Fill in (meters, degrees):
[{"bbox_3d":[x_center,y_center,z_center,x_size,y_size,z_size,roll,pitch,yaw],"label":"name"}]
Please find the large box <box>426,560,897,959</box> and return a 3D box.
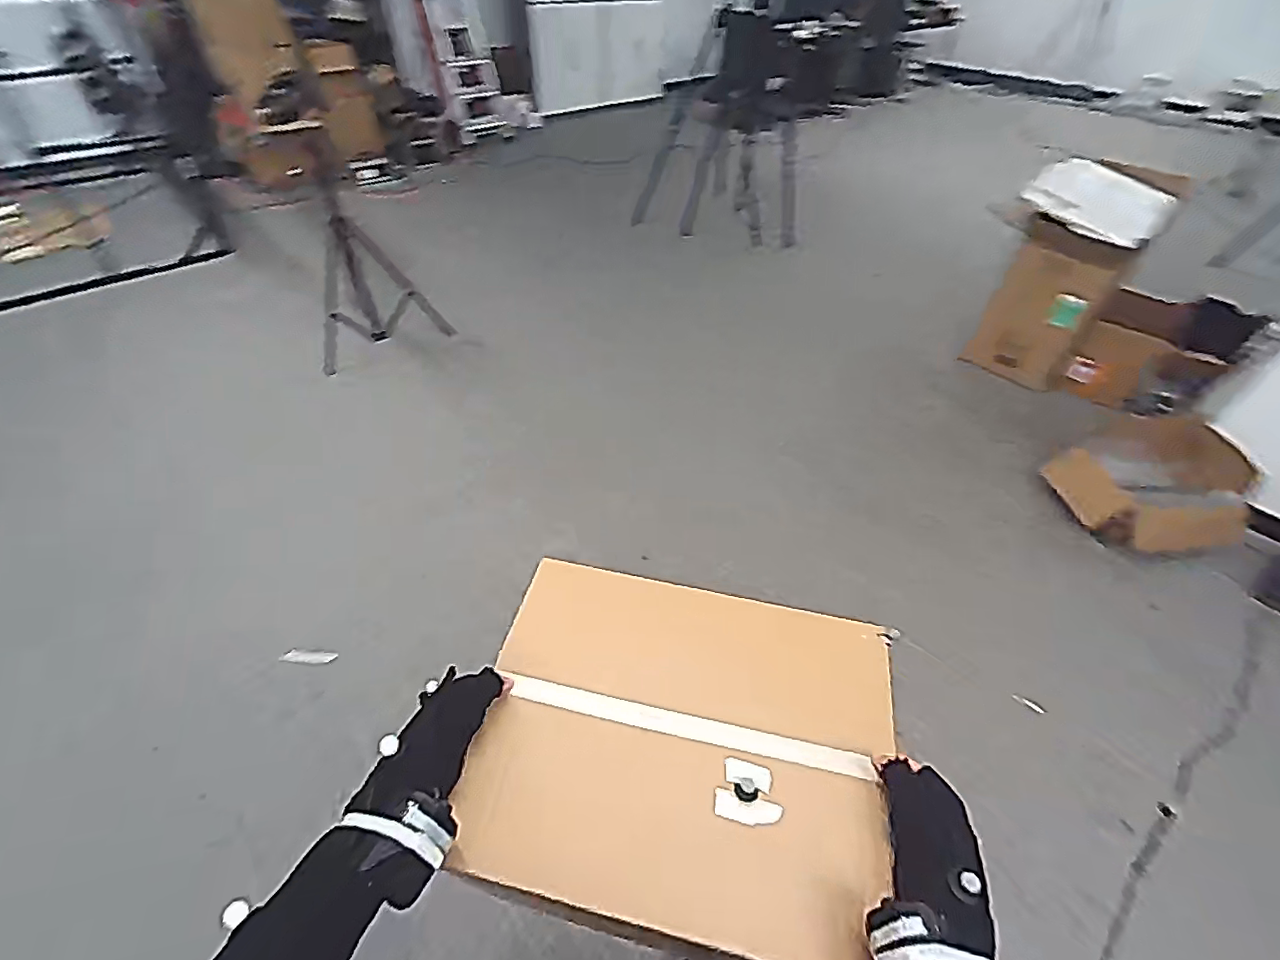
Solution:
[{"bbox_3d":[0.032,0.340,0.650,0.408,0.320,0.320,11,49,8],"label":"large box"}]
